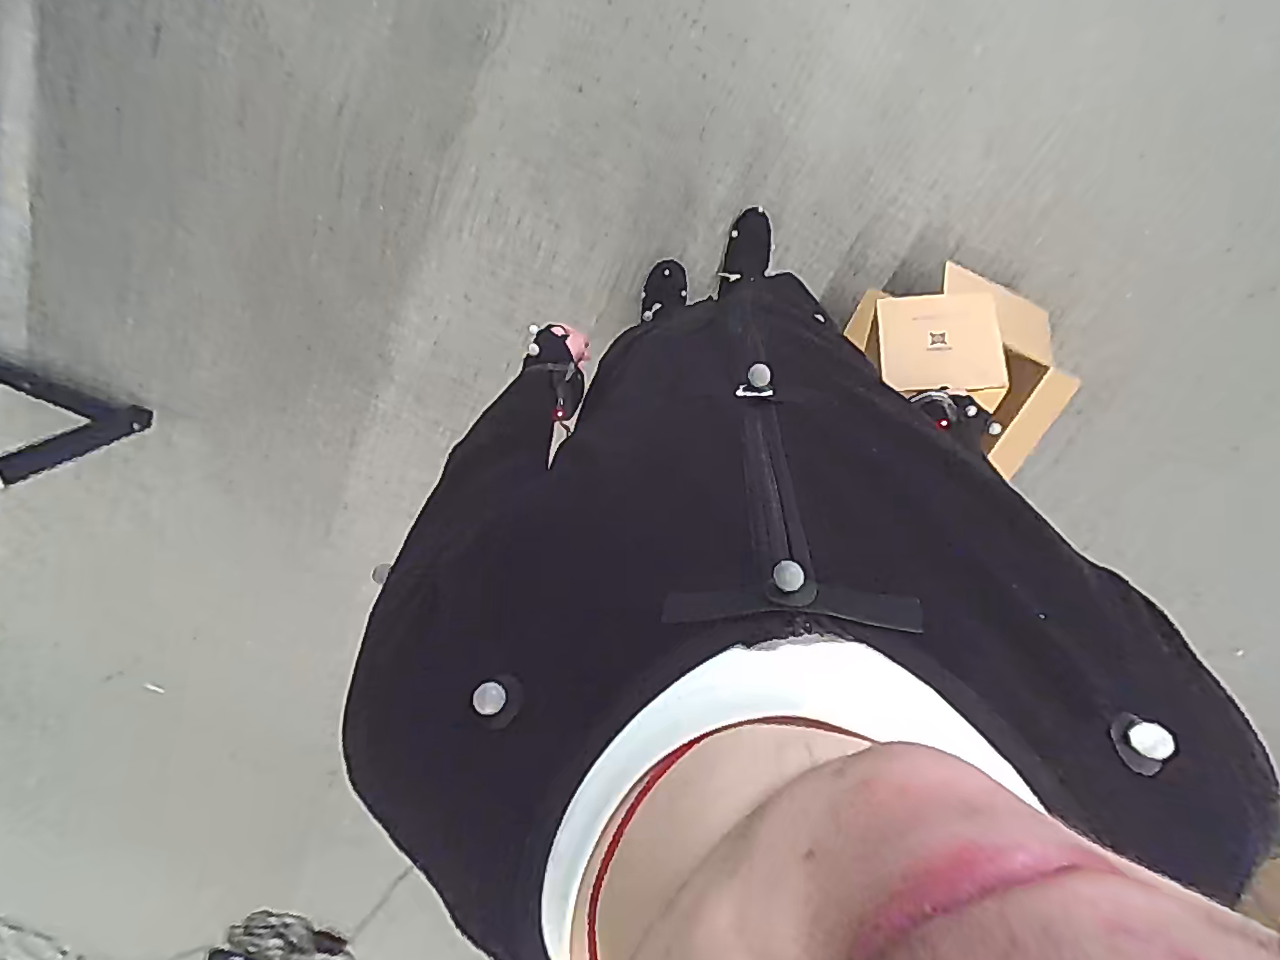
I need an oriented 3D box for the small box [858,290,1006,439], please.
[{"bbox_3d":[0.455,-0.176,0.873,0.168,0.179,0.176,0,154,12],"label":"small box"}]
